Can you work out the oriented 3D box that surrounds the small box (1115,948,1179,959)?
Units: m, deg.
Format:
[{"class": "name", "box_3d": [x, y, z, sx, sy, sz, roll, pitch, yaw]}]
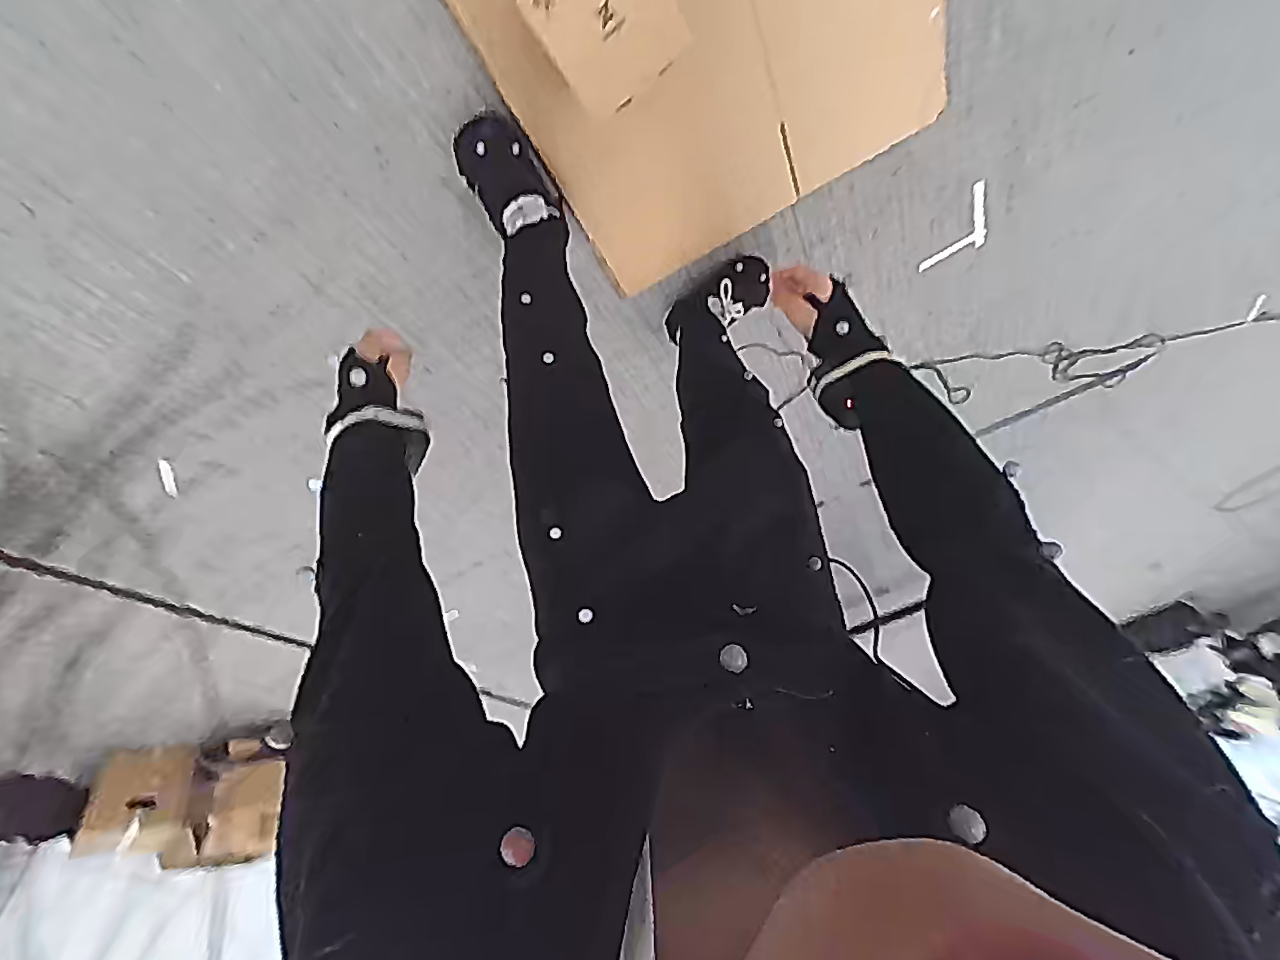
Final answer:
[{"class": "small box", "box_3d": [1.577, 1.540, 1.622, 0.168, 0.176, 0.179, -34, 140, 20]}]

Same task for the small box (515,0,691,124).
[{"class": "small box", "box_3d": [-0.057, -0.642, 0.730, 0.168, 0.176, 0.179, -31, 140, 19]}]
